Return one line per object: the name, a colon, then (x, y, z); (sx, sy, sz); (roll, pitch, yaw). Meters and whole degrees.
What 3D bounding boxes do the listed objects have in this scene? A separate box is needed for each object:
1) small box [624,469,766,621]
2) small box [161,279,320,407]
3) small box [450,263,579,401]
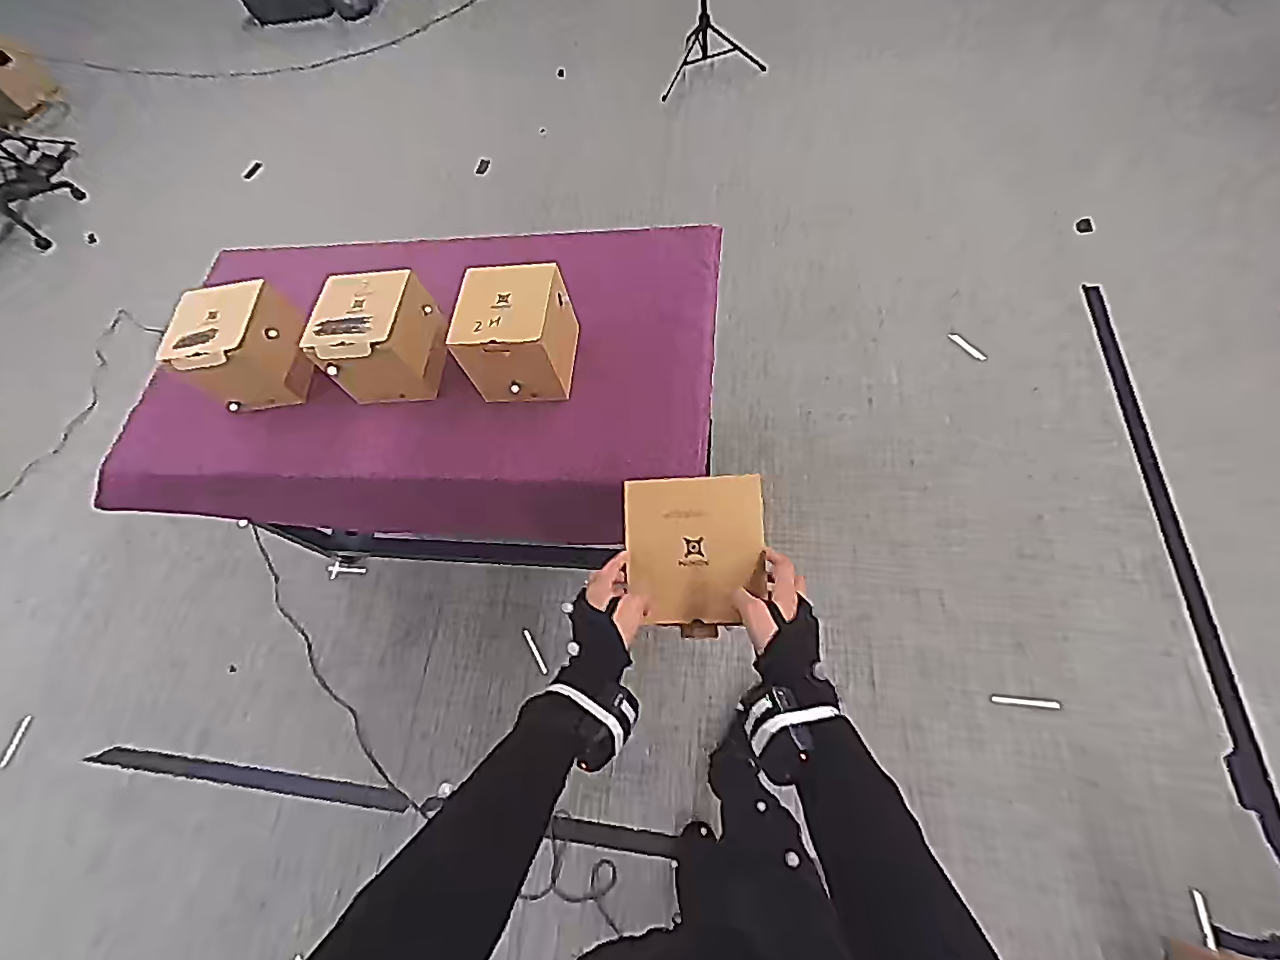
small box: (0.076, 0.085, 0.709); (0.168, 0.176, 0.179); (-3, 82, 9)
small box: (-0.764, -0.257, 1.057); (0.168, 0.176, 0.179); (-7, 63, 5)
small box: (-0.212, -0.261, 0.972); (0.168, 0.176, 0.179); (0, 65, 10)
